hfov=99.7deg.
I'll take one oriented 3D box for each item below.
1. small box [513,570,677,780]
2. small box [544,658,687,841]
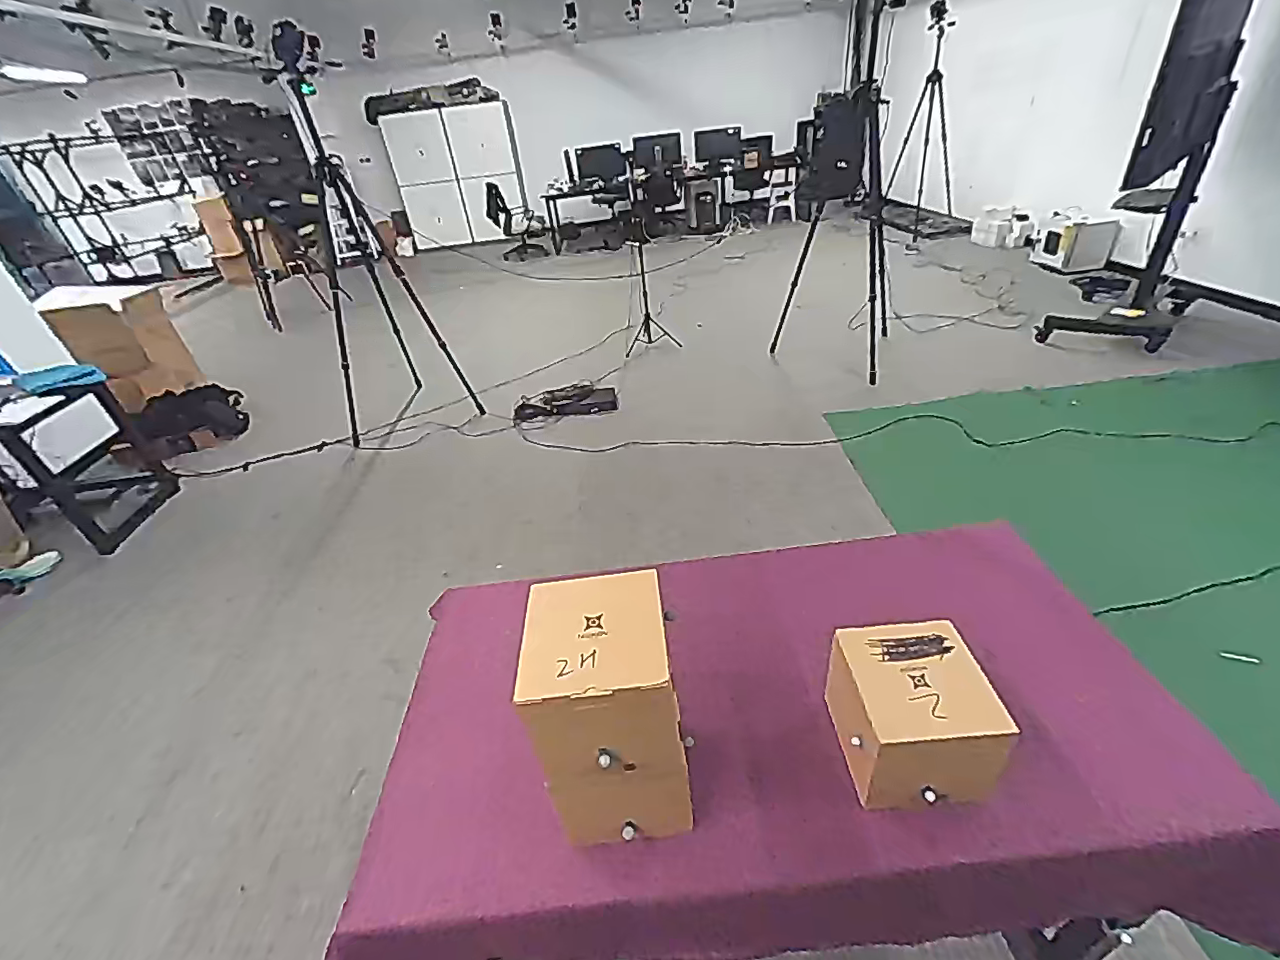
[{"bbox_3d":[-0.048,0.240,0.675,0.168,0.176,0.179,-8,35,1],"label":"small box"},{"bbox_3d":[-0.030,0.378,0.764,0.179,0.176,0.168,-7,34,-1],"label":"small box"}]
